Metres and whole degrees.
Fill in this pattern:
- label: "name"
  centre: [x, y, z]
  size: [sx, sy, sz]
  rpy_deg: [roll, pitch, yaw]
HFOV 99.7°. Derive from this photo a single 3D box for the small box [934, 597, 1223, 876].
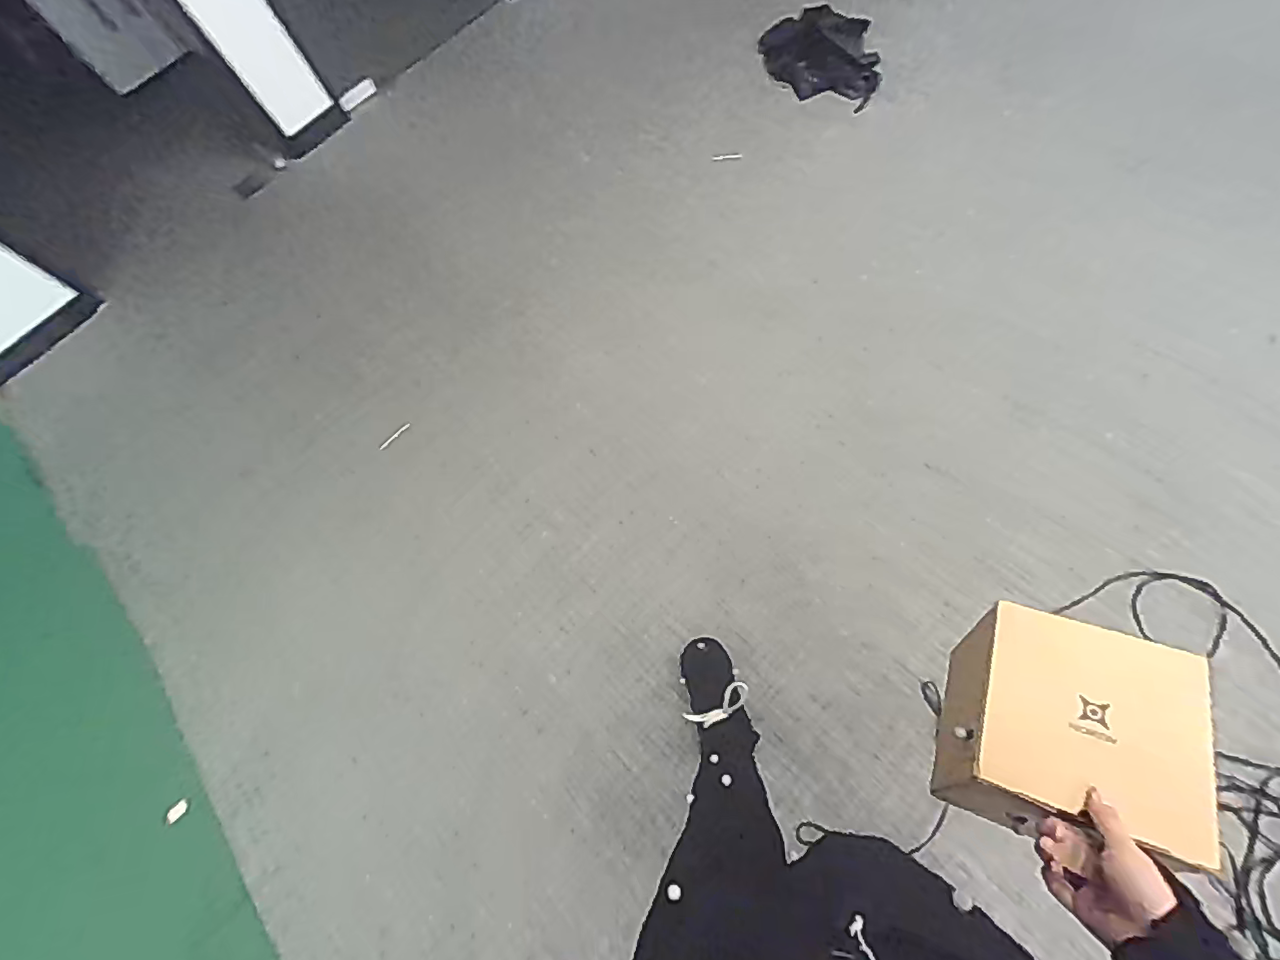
- label: "small box"
  centre: [0.411, 0.249, 0.534]
  size: [0.168, 0.176, 0.179]
  rpy_deg: [16, 62, 22]
